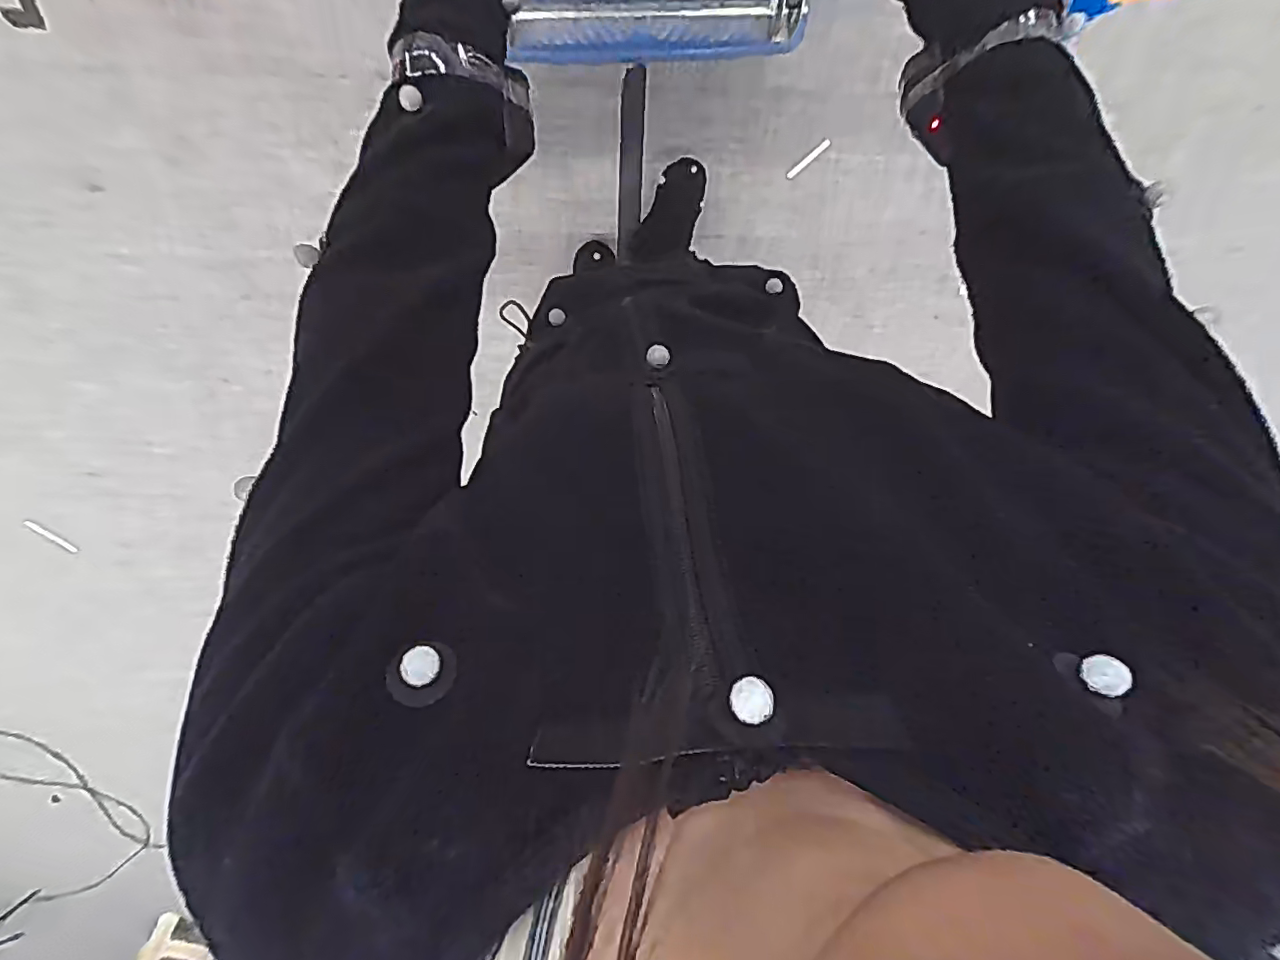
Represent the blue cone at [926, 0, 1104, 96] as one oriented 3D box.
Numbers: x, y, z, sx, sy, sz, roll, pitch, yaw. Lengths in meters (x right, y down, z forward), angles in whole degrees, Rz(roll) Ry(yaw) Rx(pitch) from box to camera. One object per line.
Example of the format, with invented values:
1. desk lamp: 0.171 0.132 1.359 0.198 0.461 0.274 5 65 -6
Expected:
1. blue cone: 0.689 -0.812 0.943 0.193 0.380 0.192 -4 119 -3
